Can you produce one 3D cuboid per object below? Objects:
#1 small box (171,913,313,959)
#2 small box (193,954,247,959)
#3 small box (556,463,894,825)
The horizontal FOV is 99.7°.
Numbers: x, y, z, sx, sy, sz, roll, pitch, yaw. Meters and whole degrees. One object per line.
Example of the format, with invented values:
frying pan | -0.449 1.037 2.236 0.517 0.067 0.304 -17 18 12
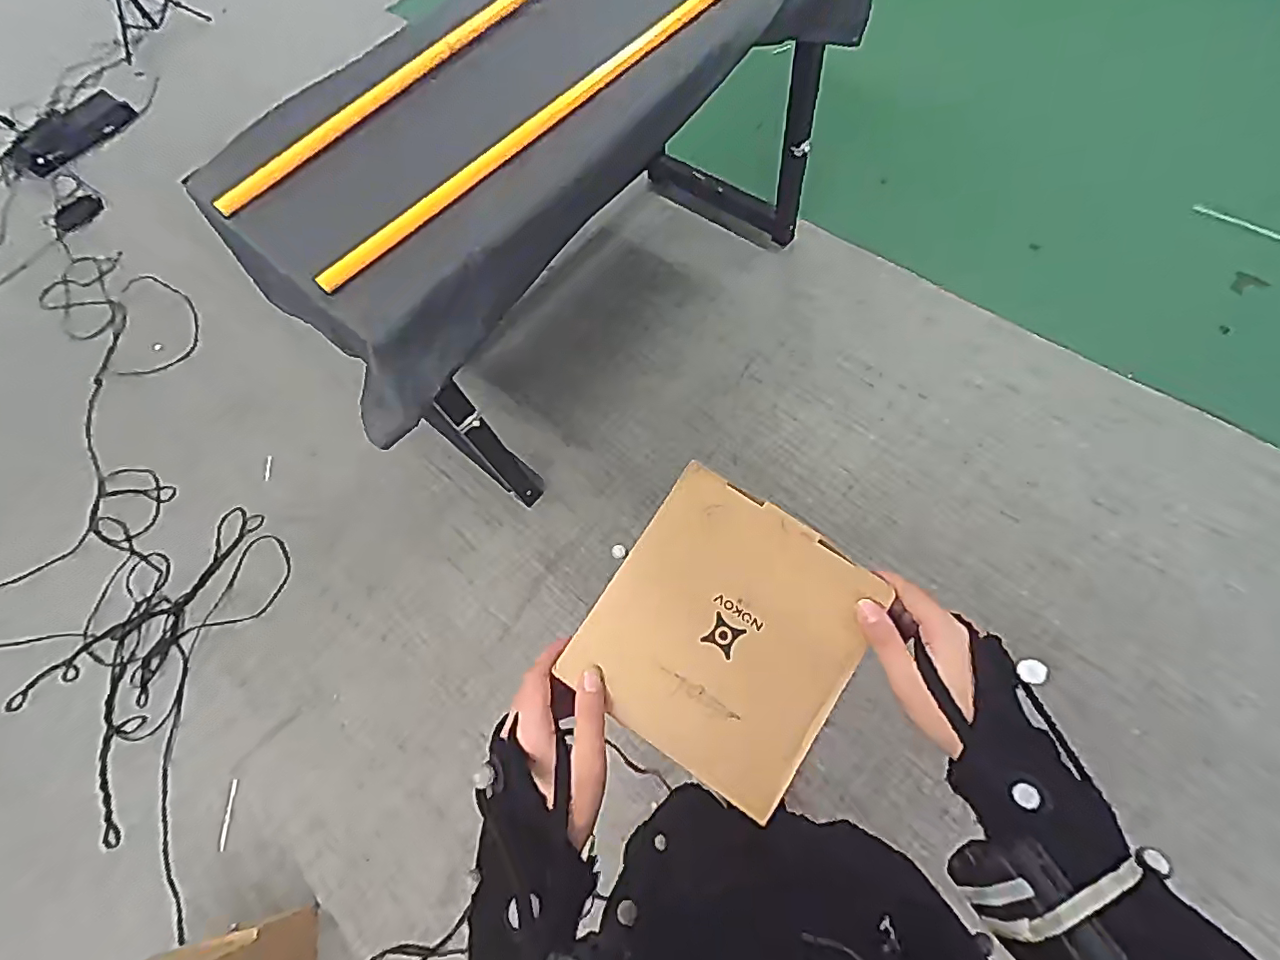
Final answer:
small box | -0.745 0.957 1.011 0.168 0.176 0.179 -15 64 1
small box | -0.776 0.894 0.861 0.179 0.176 0.168 -10 64 4
small box | 0.059 0.117 0.434 0.168 0.176 0.179 33 80 9
